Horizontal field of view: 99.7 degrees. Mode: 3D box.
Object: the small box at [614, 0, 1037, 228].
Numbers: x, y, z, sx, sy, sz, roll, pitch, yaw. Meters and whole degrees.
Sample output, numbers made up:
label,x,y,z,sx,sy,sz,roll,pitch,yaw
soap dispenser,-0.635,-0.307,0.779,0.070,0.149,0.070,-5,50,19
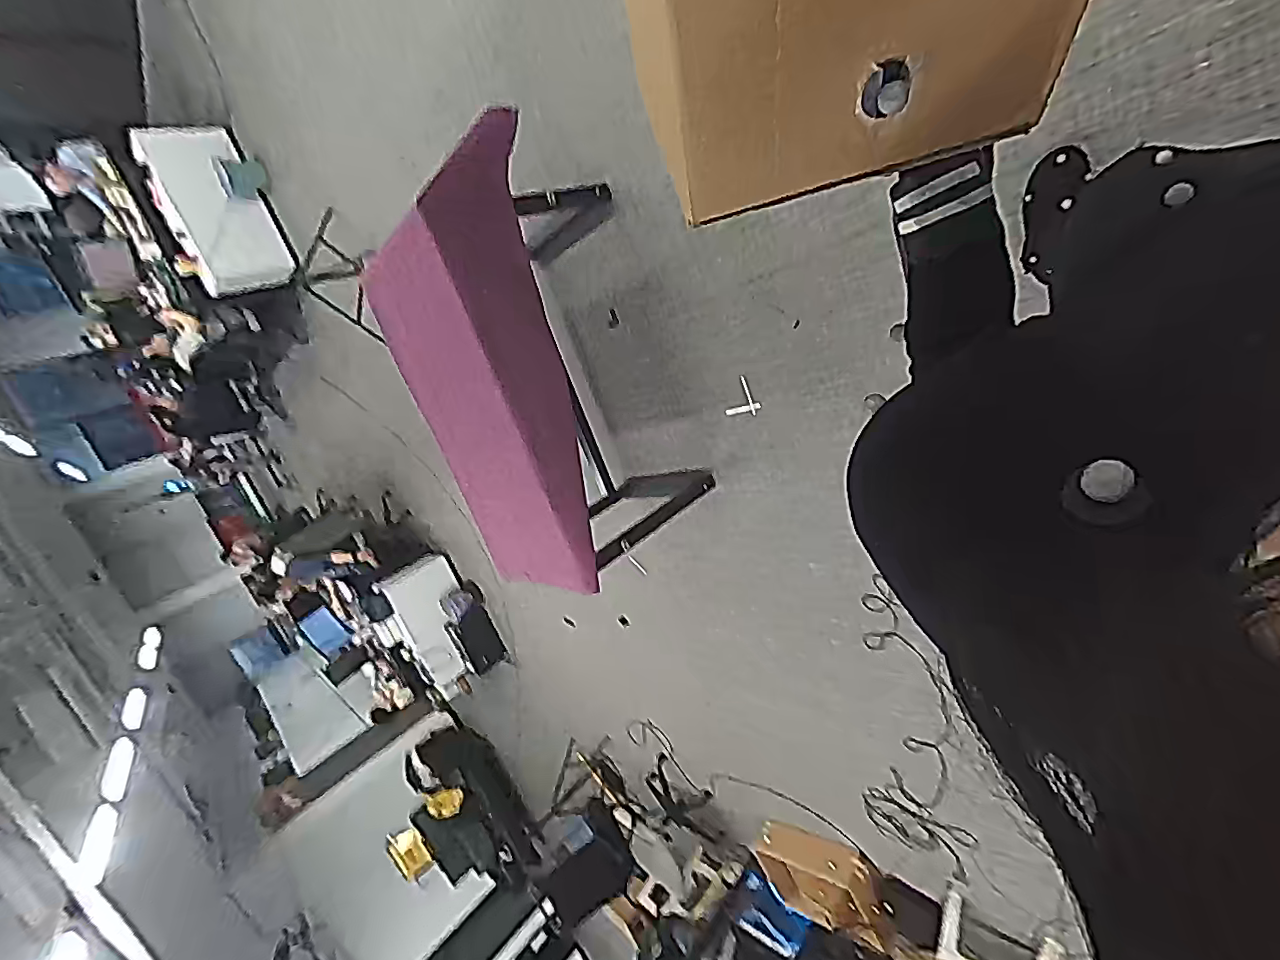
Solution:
label,x,y,z,sx,sy,sz,roll,pitch,yaw
small box,0.074,-0.259,0.250,0.176,0.179,0.168,68,-169,-55
